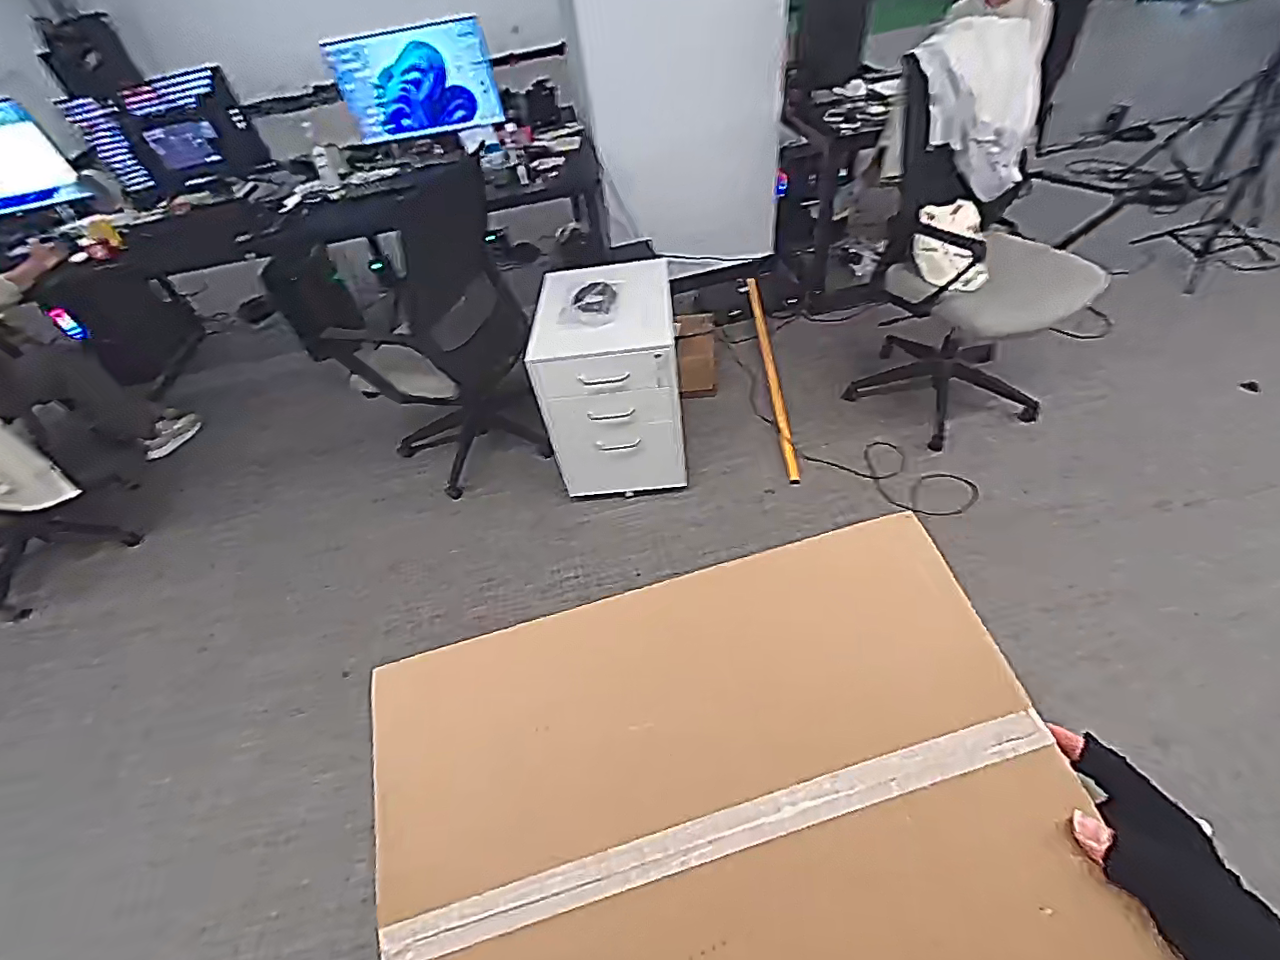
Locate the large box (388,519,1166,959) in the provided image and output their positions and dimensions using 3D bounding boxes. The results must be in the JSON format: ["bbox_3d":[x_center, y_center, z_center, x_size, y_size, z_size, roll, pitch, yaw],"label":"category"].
[{"bbox_3d":[0.063,0.285,0.454,0.408,0.320,0.320,-16,61,-4],"label":"large box"}]
